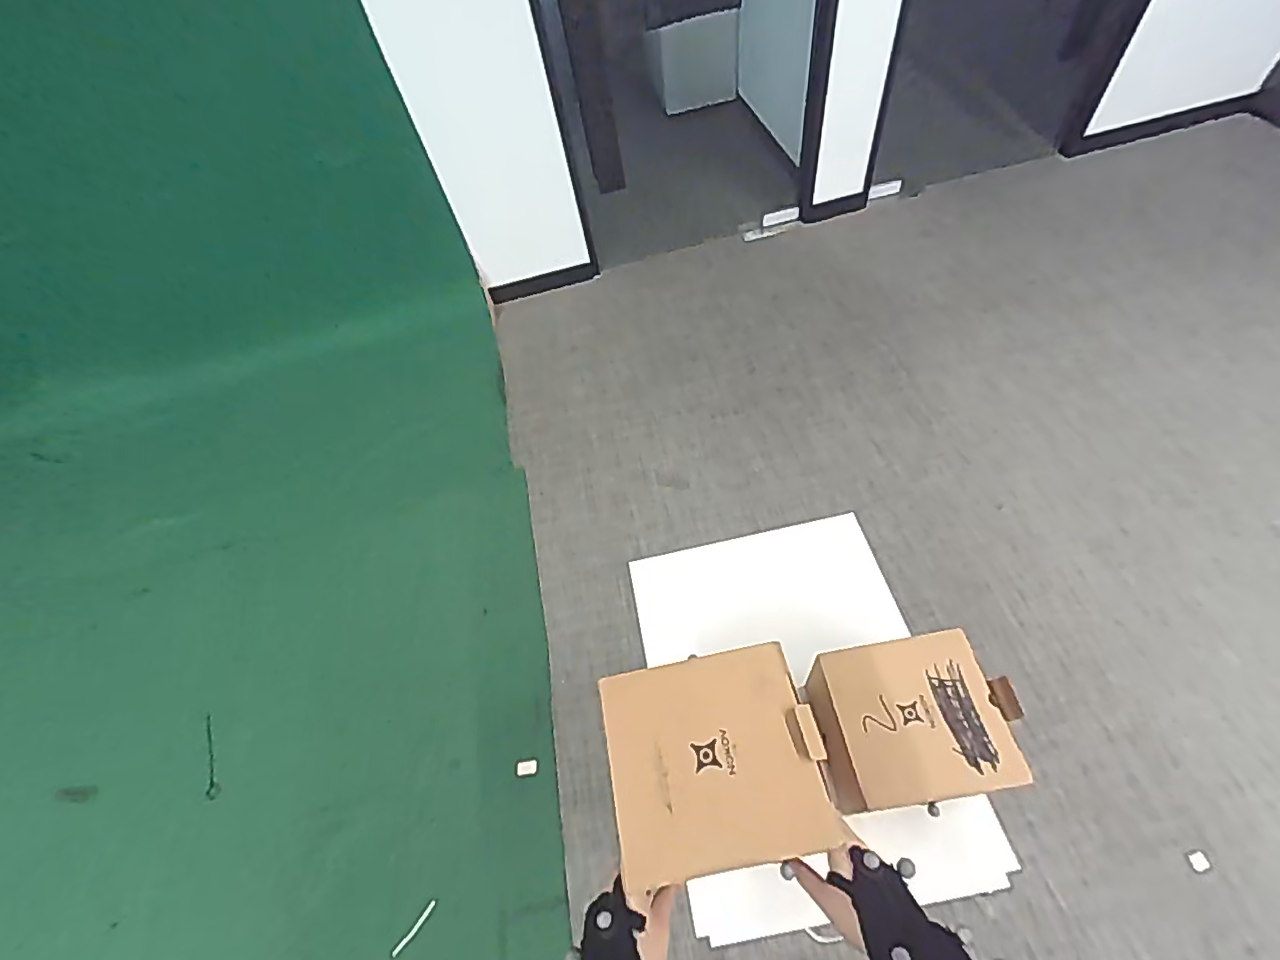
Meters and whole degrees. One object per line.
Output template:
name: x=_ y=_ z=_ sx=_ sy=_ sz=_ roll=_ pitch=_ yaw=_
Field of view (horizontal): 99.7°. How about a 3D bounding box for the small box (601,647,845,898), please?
small box: x=0.069 y=0.282 z=0.524 sx=0.179 sy=0.176 sz=0.168 roll=-13 pitch=54 yaw=0
